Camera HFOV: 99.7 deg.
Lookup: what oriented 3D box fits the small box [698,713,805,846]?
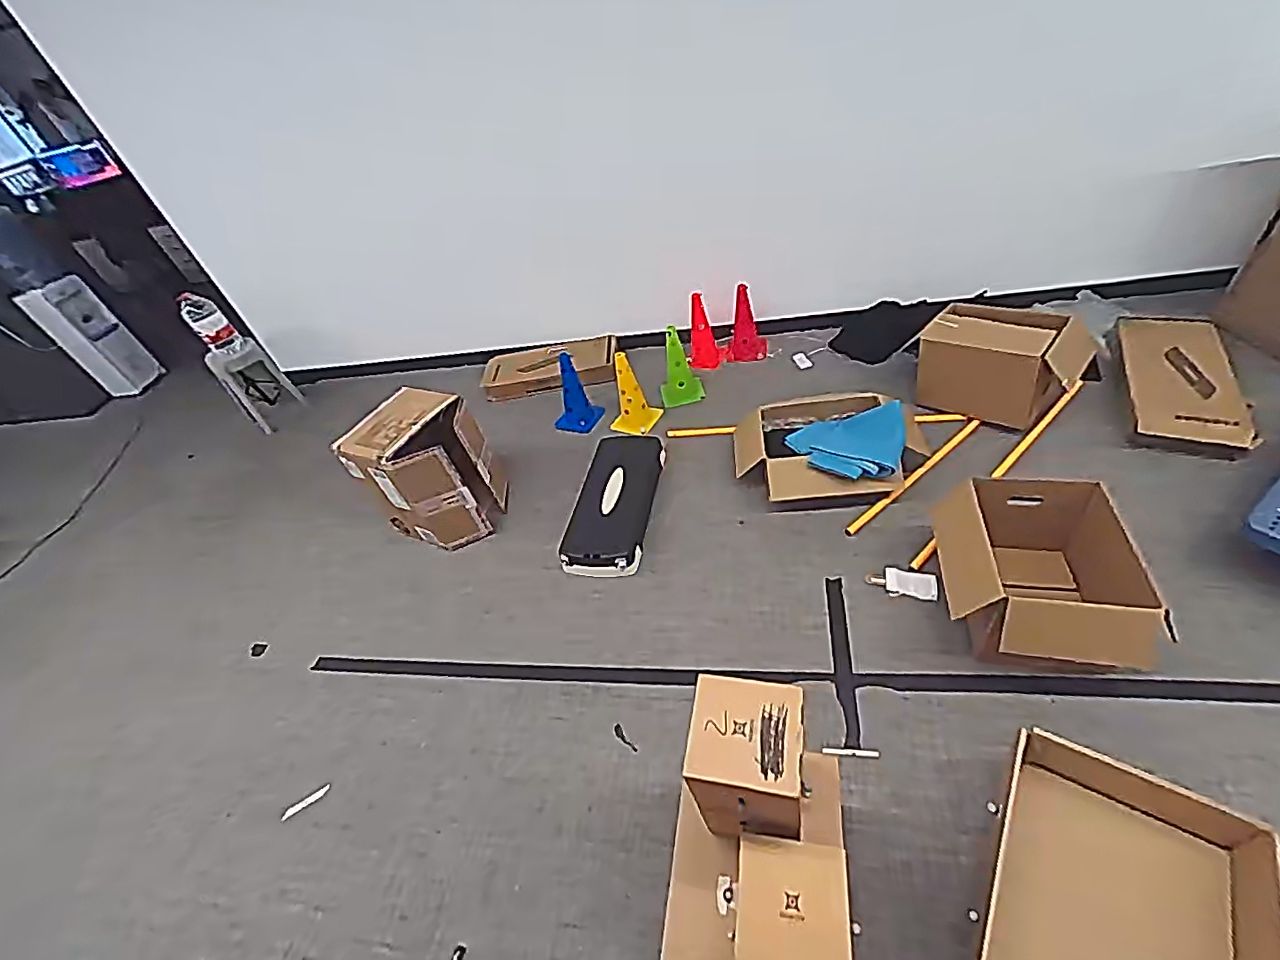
[{"bbox_3d":[0.215,0.561,1.011,0.179,0.176,0.168,1,47,17],"label":"small box"}]

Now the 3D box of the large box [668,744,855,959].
[{"bbox_3d":[0.251,0.811,1.102,0.320,0.320,0.408,-2,45,16],"label":"large box"}]
